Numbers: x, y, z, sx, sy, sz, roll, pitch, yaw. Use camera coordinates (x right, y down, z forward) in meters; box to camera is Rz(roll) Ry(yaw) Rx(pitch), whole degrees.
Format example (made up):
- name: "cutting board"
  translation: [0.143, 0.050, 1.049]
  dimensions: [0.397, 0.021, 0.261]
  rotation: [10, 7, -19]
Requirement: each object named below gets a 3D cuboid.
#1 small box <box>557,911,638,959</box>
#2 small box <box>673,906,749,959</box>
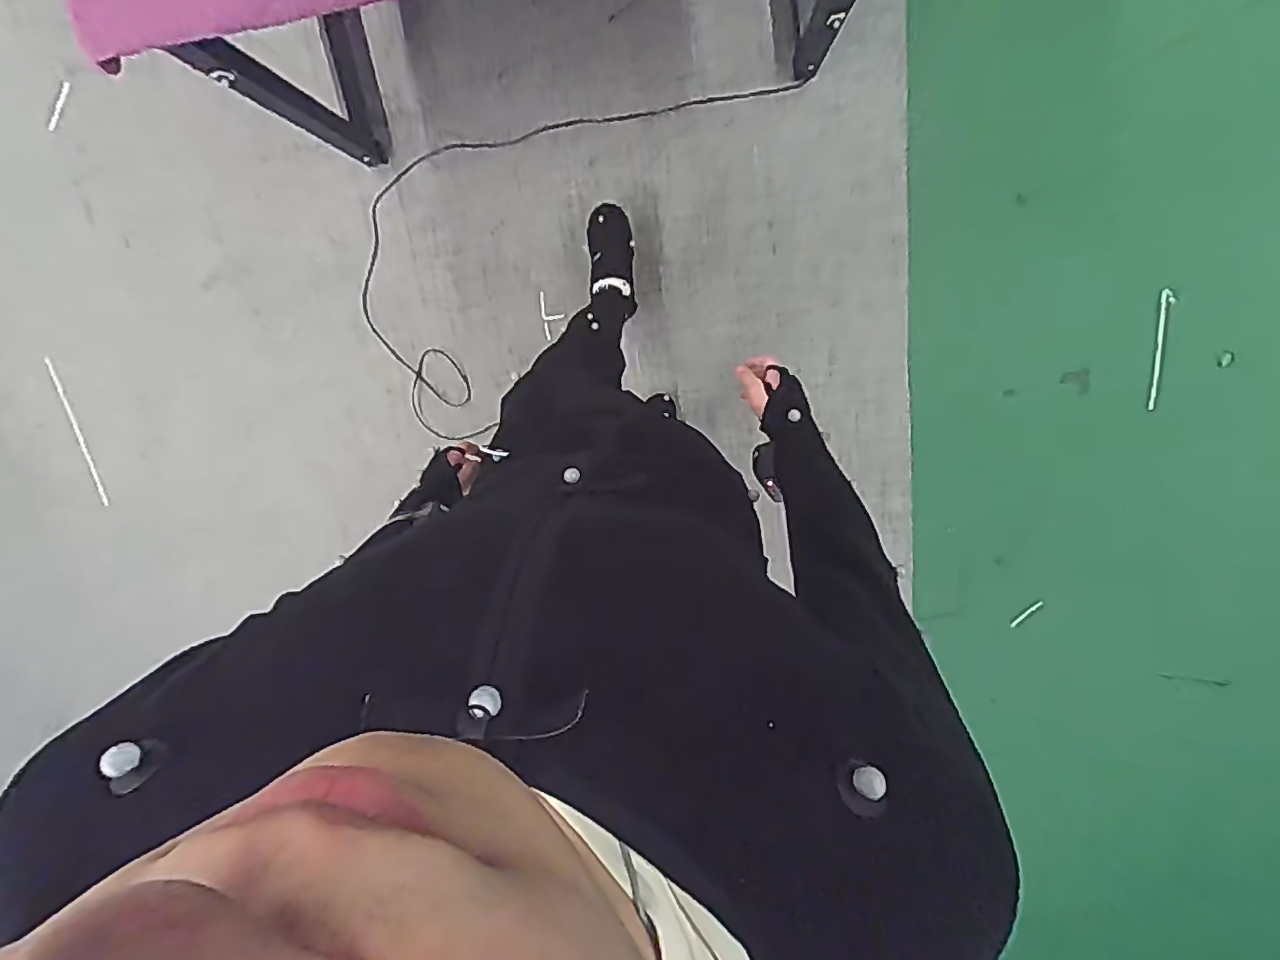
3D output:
- name: "small box"
  translation: [-0.096, 1.134, 1.241]
  dimensions: [0.179, 0.176, 0.168]
  rotation: [-4, 103, 5]
- name: "small box"
  translation: [0.163, 1.110, 1.219]
  dimensions: [0.168, 0.176, 0.179]
  rotation: [-6, 105, 4]
